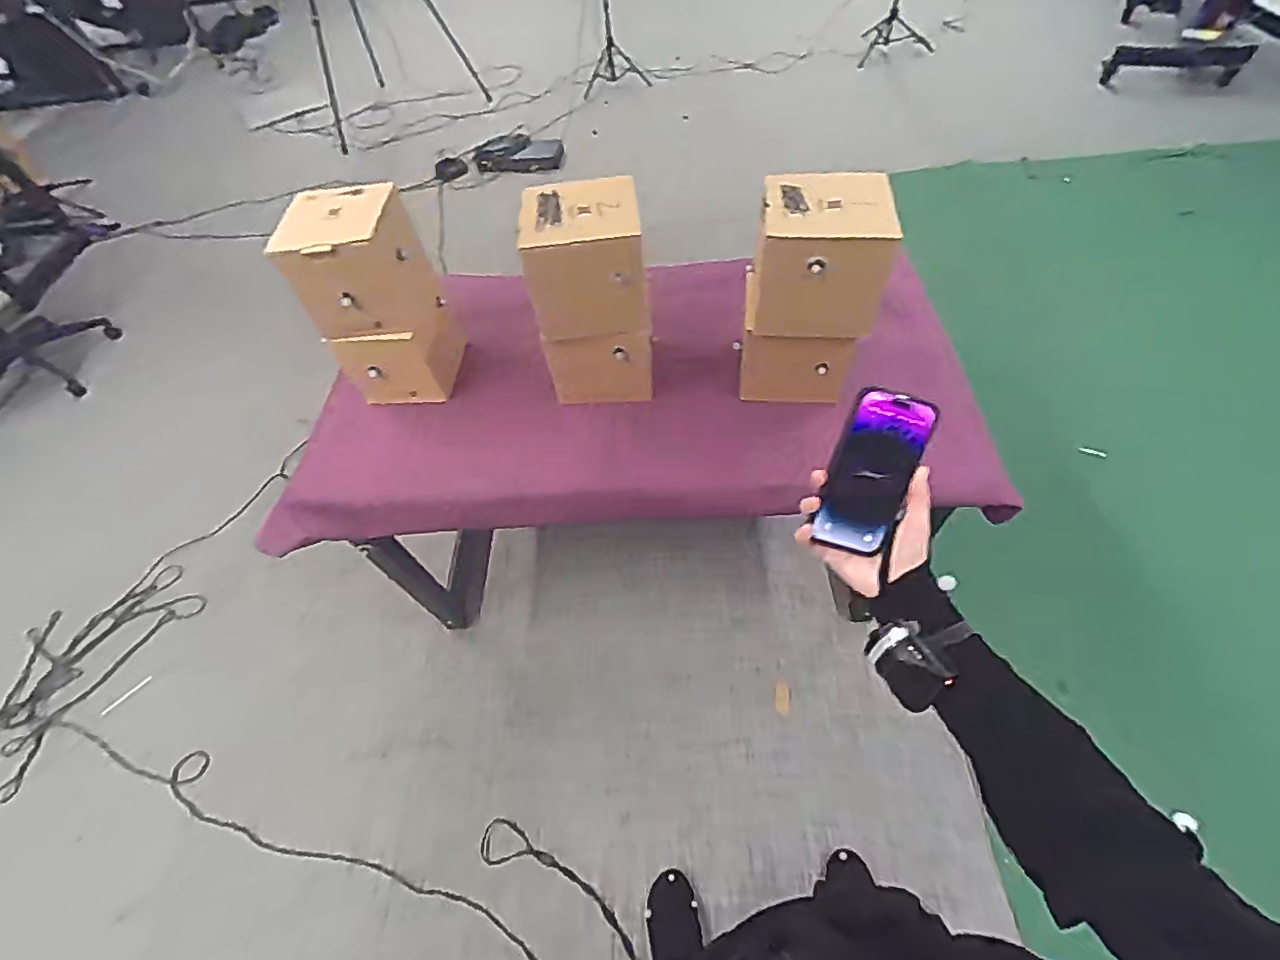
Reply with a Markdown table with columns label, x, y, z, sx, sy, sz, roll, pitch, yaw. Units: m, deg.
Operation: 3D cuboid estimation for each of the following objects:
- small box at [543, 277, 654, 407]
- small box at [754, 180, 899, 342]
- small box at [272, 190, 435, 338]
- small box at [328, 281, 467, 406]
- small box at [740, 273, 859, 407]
| label | x | y | z | sx | sy | sz | roll | pitch | yaw |
| --- | --- | --- | --- | --- | --- | --- | --- | --- | --- |
| small box | -0.065 | -0.249 | 0.997 | 0.179 | 0.176 | 0.168 | -2 | 55 | 5 |
| small box | 0.267 | -0.326 | 0.816 | 0.179 | 0.176 | 0.168 | 4 | 55 | 8 |
| small box | -0.468 | -0.356 | 0.916 | 0.168 | 0.176 | 0.179 | -5 | 56 | 2 |
| small box | -0.453 | -0.256 | 1.046 | 0.168 | 0.176 | 0.179 | -1 | 55 | 6 |
| small box | 0.274 | -0.245 | 0.959 | 0.179 | 0.176 | 0.168 | 3 | 55 | 10 |
